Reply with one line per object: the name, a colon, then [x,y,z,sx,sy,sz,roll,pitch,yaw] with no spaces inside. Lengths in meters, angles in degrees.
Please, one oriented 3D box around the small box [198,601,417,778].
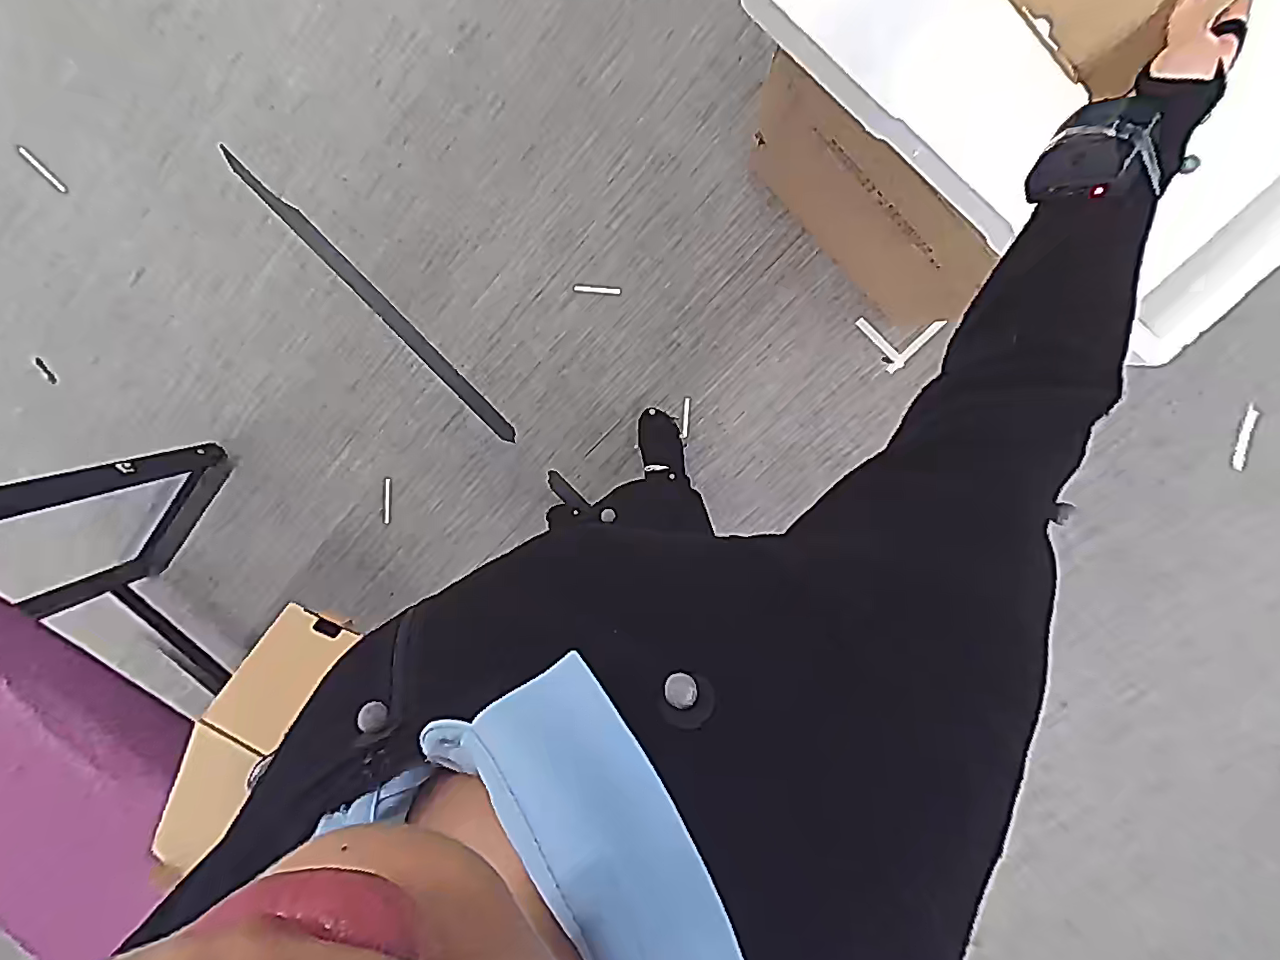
small box: [-0.460,0.308,0.783,0.168,0.176,0.179,18,61,16]
